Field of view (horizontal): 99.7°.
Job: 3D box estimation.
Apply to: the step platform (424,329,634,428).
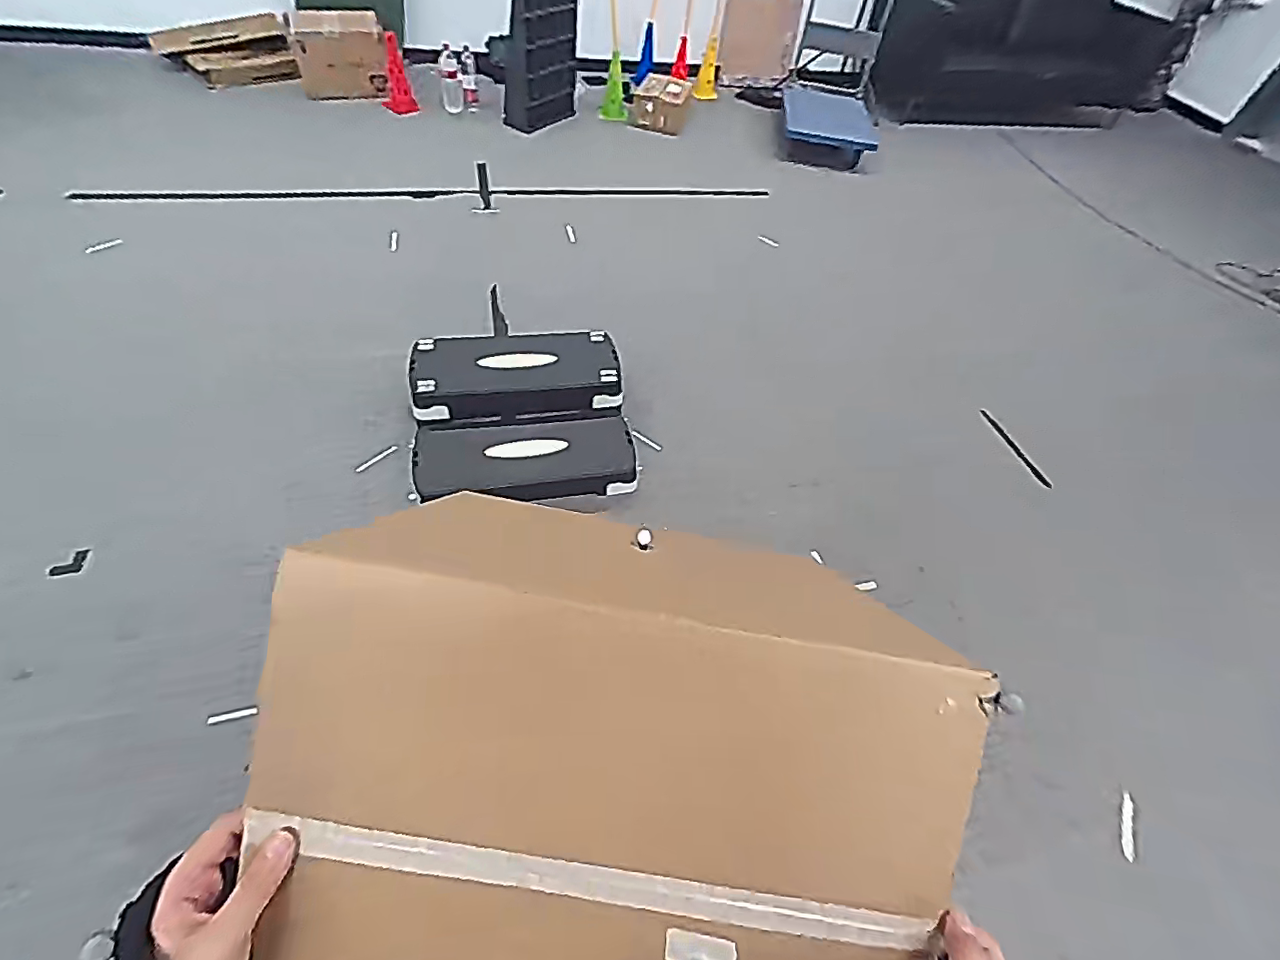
[{"bbox_3d":[-0.361,-0.342,1.819,0.684,0.204,0.286,-1,52,-10],"label":"step platform"}]
